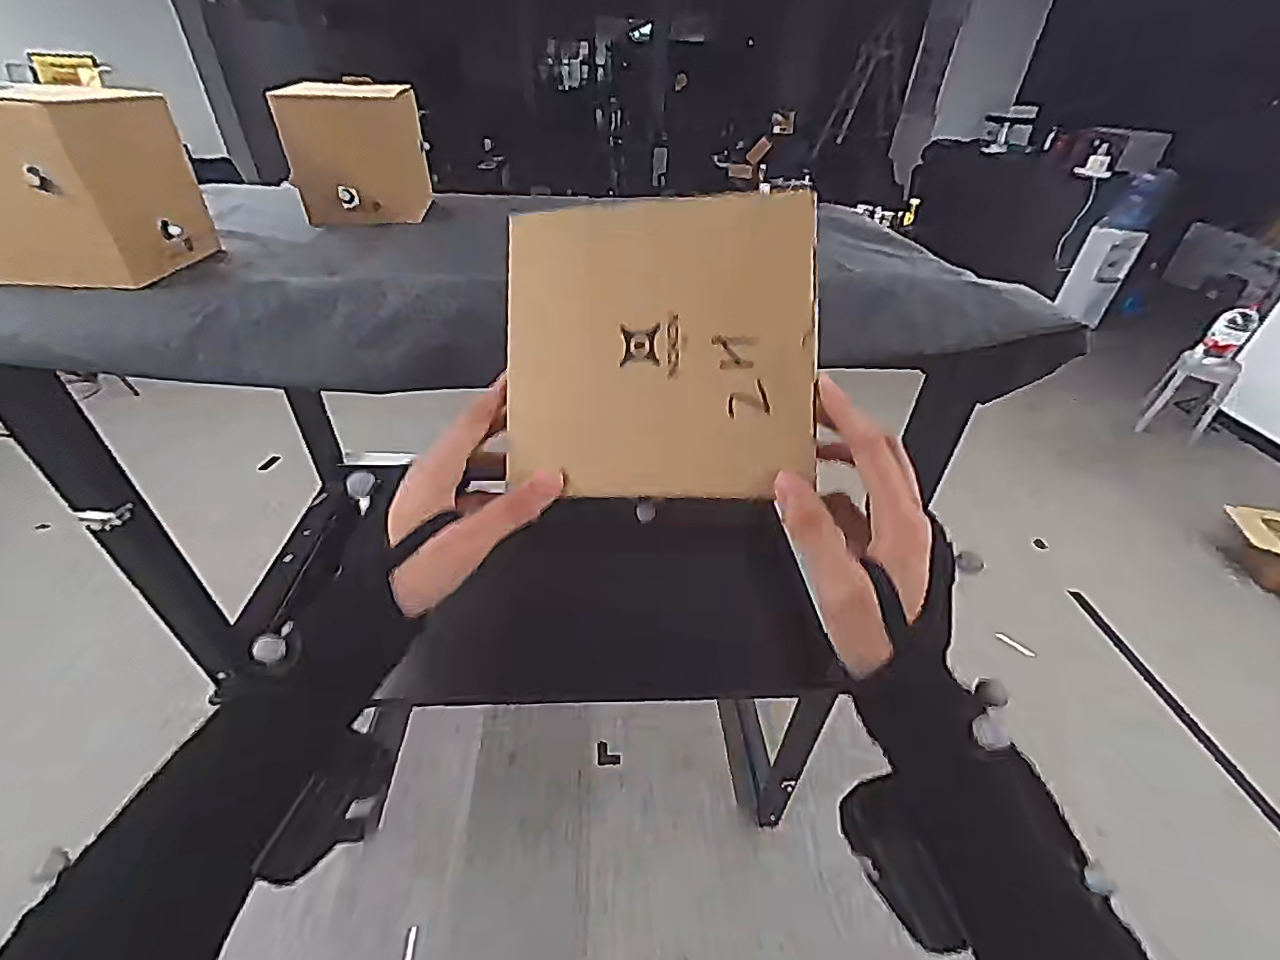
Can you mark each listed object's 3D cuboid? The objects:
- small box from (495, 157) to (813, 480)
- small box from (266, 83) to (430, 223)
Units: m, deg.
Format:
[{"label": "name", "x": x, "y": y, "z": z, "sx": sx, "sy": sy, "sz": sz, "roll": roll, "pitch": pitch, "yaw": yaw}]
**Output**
[{"label": "small box", "x": 0.018, "y": -0.085, "z": 0.373, "sx": 0.179, "sy": 0.168, "sz": 0.176, "roll": 0, "pitch": -2, "yaw": 9}, {"label": "small box", "x": -0.437, "y": -0.512, "z": 0.846, "sx": 0.168, "sy": 0.176, "sz": 0.179, "roll": -6, "pitch": 38, "yaw": -9}]
